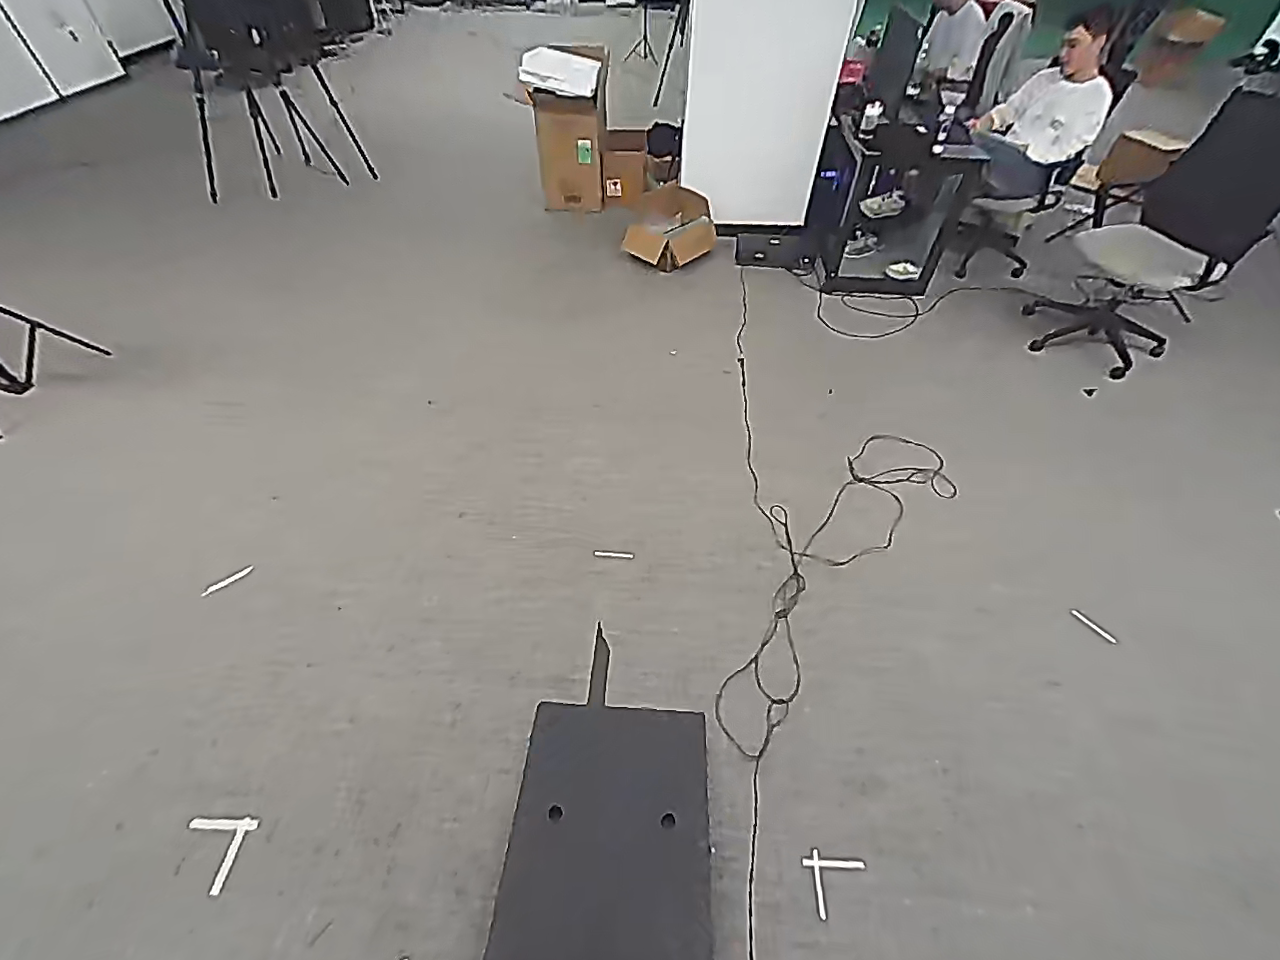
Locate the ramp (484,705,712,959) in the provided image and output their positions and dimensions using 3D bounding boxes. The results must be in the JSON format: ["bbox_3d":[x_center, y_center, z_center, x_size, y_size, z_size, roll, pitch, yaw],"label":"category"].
[{"bbox_3d":[-0.086,0.986,1.197,0.509,0.206,0.991,1,49,2],"label":"ramp"}]
